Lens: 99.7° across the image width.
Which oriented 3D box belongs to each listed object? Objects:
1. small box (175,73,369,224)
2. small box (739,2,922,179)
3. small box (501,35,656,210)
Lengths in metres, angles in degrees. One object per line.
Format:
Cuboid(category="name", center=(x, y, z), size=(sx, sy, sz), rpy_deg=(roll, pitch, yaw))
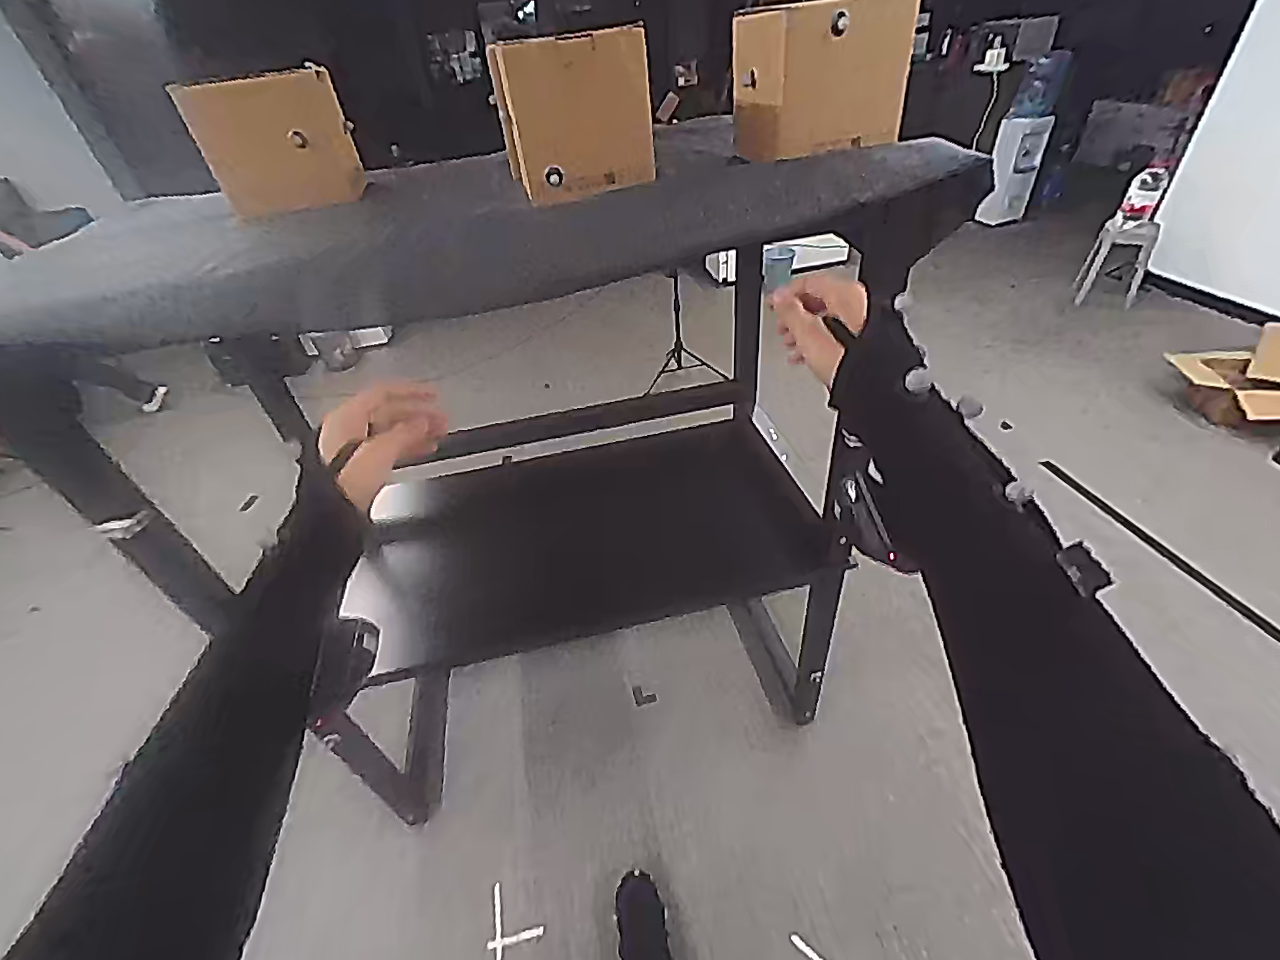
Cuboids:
Cuboid(category="small box", center=(-0.543, -0.512, 0.833), size=(0.179, 0.176, 0.168), rpy_deg=(-13, 40, -9))
Cuboid(category="small box", center=(0.236, -0.516, 0.726), size=(0.168, 0.176, 0.179), rpy_deg=(-13, 39, -6))
Cuboid(category="small box", center=(-0.080, -0.471, 0.719), size=(0.168, 0.176, 0.179), rpy_deg=(-13, 39, -7))
